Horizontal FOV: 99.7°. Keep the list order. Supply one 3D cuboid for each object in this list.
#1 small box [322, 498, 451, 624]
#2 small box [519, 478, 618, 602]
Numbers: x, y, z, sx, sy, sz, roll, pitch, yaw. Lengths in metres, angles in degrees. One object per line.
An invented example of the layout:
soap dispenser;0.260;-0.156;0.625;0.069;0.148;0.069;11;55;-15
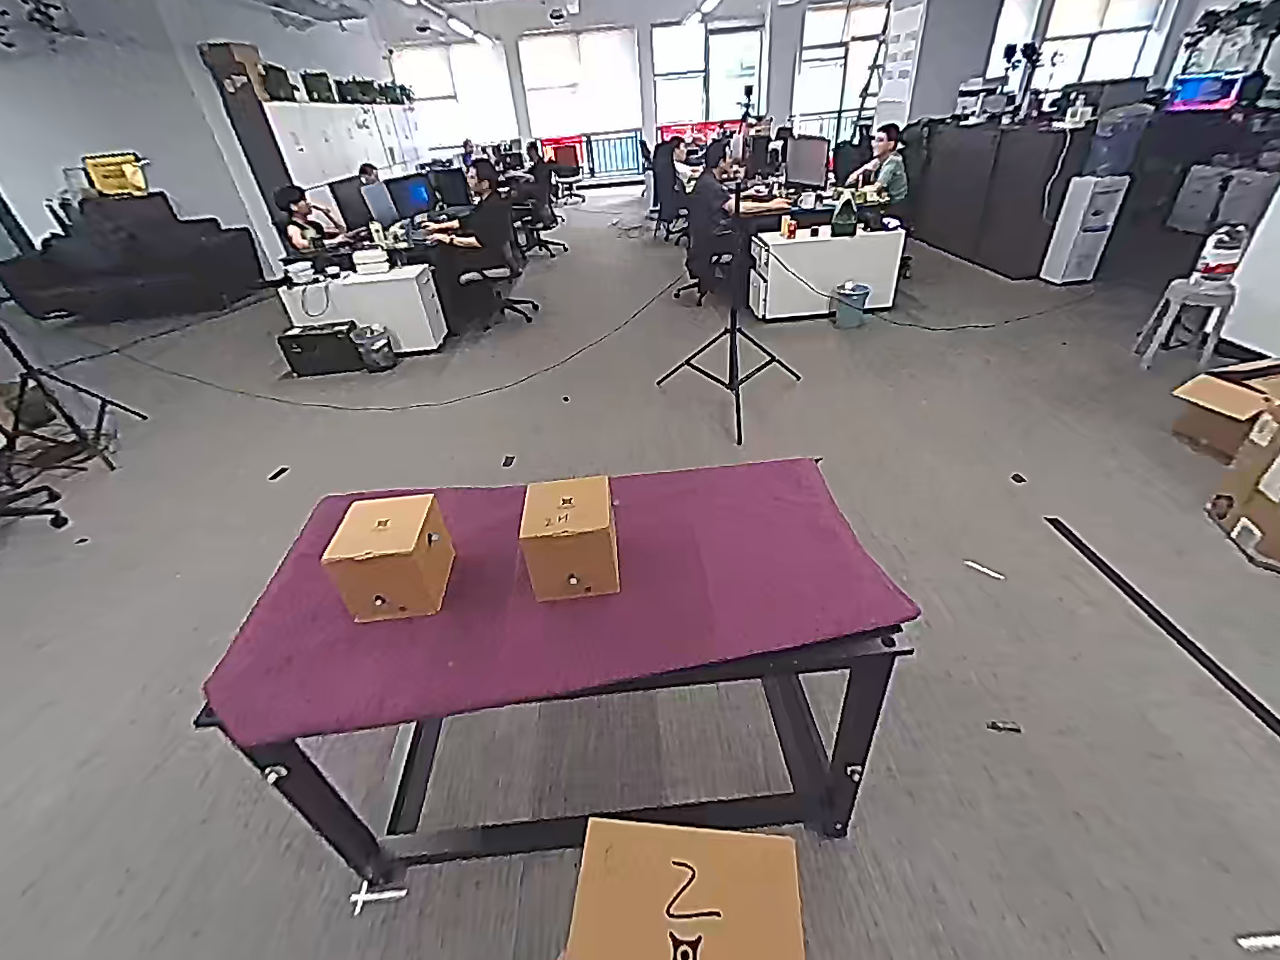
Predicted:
small box;-0.487;0.158;1.071;0.168;0.176;0.179;-6;36;-2
small box;-0.135;0.118;1.080;0.168;0.176;0.179;-7;35;-1
